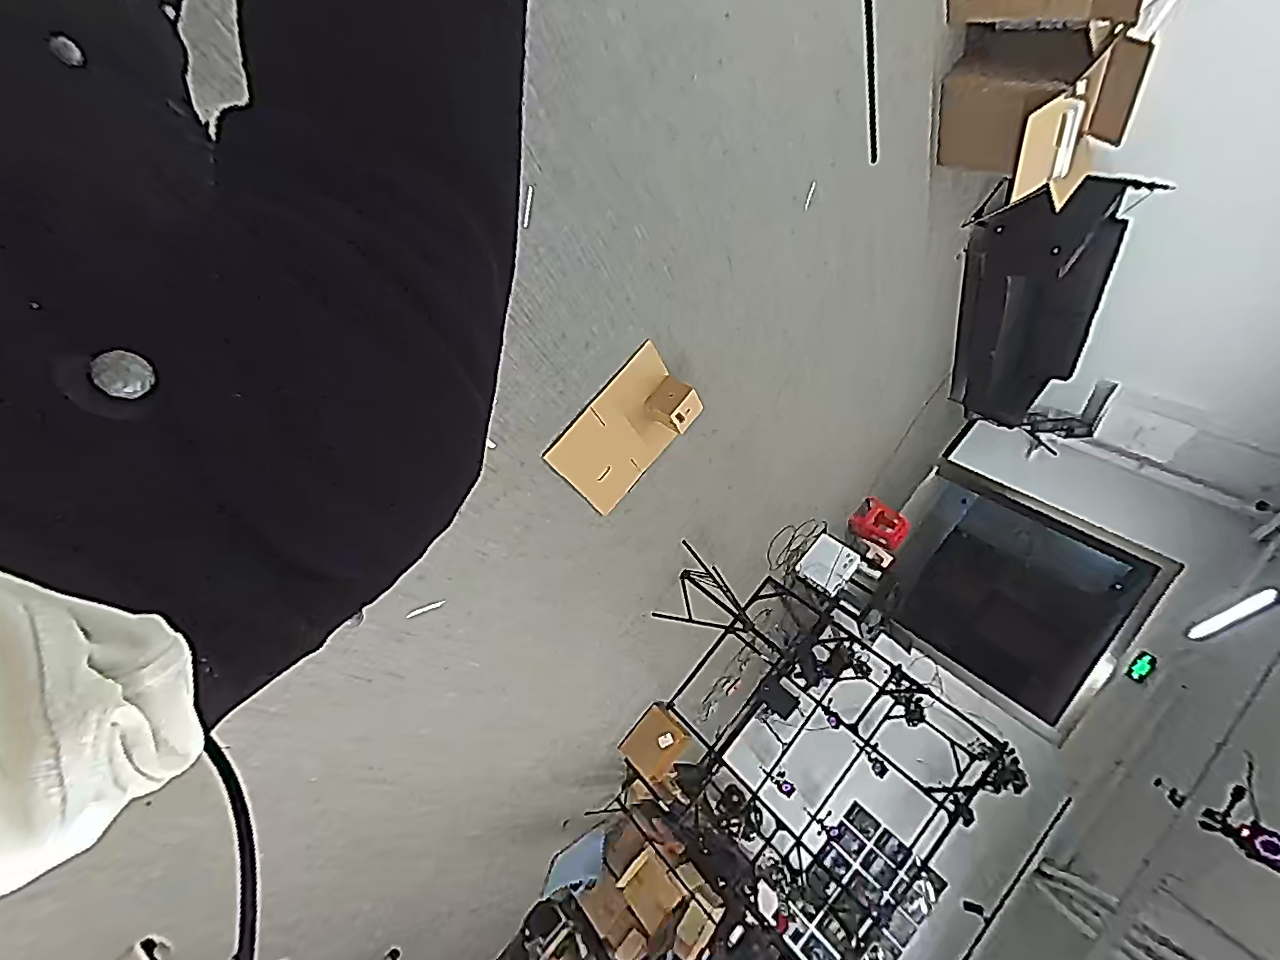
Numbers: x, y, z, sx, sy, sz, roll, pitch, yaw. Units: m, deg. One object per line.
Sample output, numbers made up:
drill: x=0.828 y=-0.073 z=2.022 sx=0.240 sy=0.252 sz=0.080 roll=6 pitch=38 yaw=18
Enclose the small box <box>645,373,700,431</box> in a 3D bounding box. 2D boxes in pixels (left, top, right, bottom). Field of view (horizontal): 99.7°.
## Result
small box: x=0.145 y=-0.369 z=2.541 sx=0.179 sy=0.176 sz=0.168 roll=-50 pitch=145 yaw=-8
